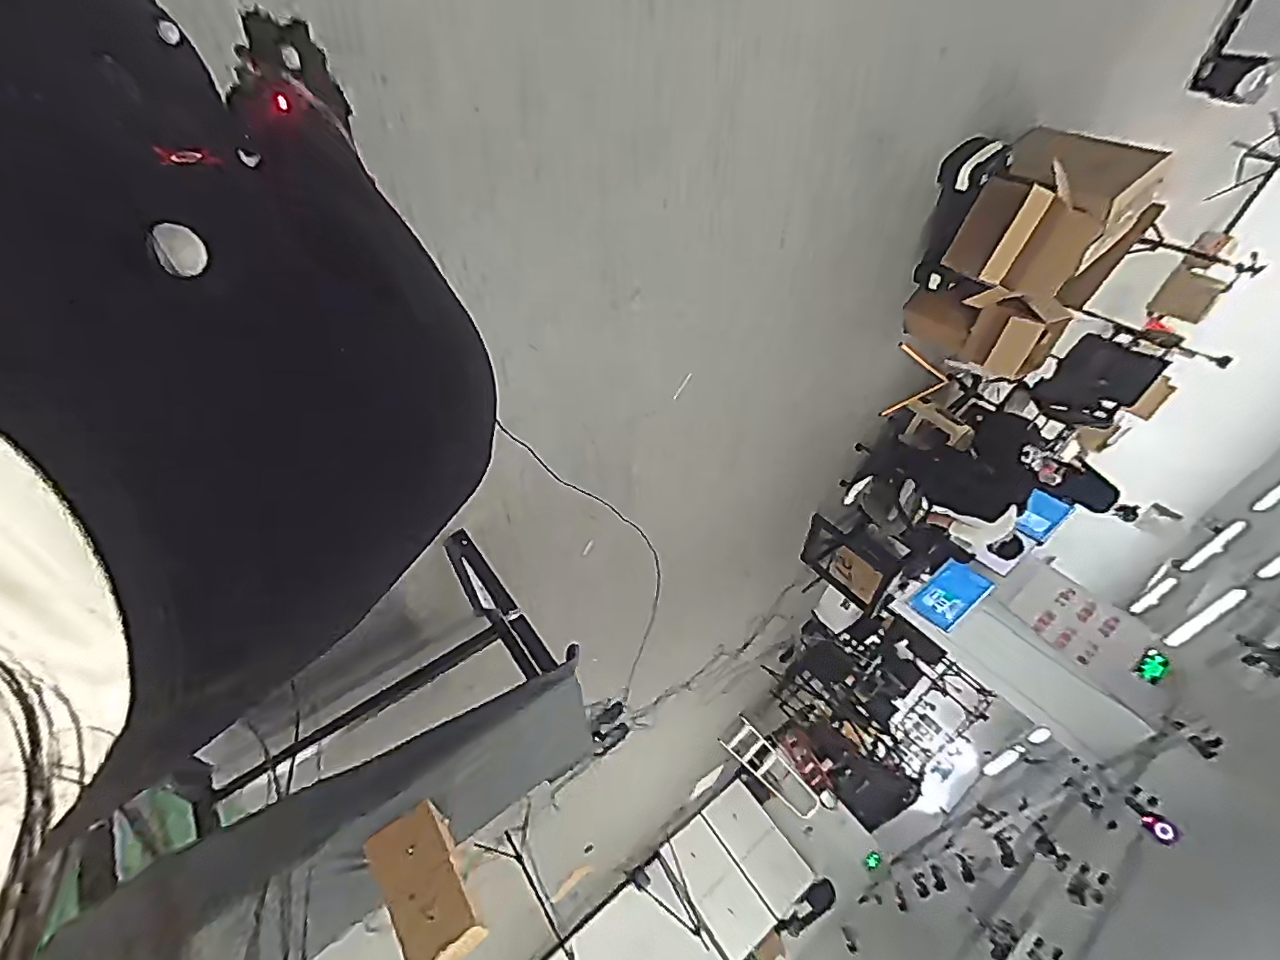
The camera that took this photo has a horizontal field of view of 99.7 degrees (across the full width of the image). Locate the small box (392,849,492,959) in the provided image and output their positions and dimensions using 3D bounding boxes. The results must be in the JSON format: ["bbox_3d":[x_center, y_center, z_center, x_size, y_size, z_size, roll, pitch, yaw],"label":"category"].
[{"bbox_3d":[-0.503,1.081,1.371,0.168,0.176,0.179,-29,143,-26],"label":"small box"}]

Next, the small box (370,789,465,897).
[{"bbox_3d":[-0.602,0.981,1.454,0.179,0.176,0.168,-28,143,-27],"label":"small box"}]
